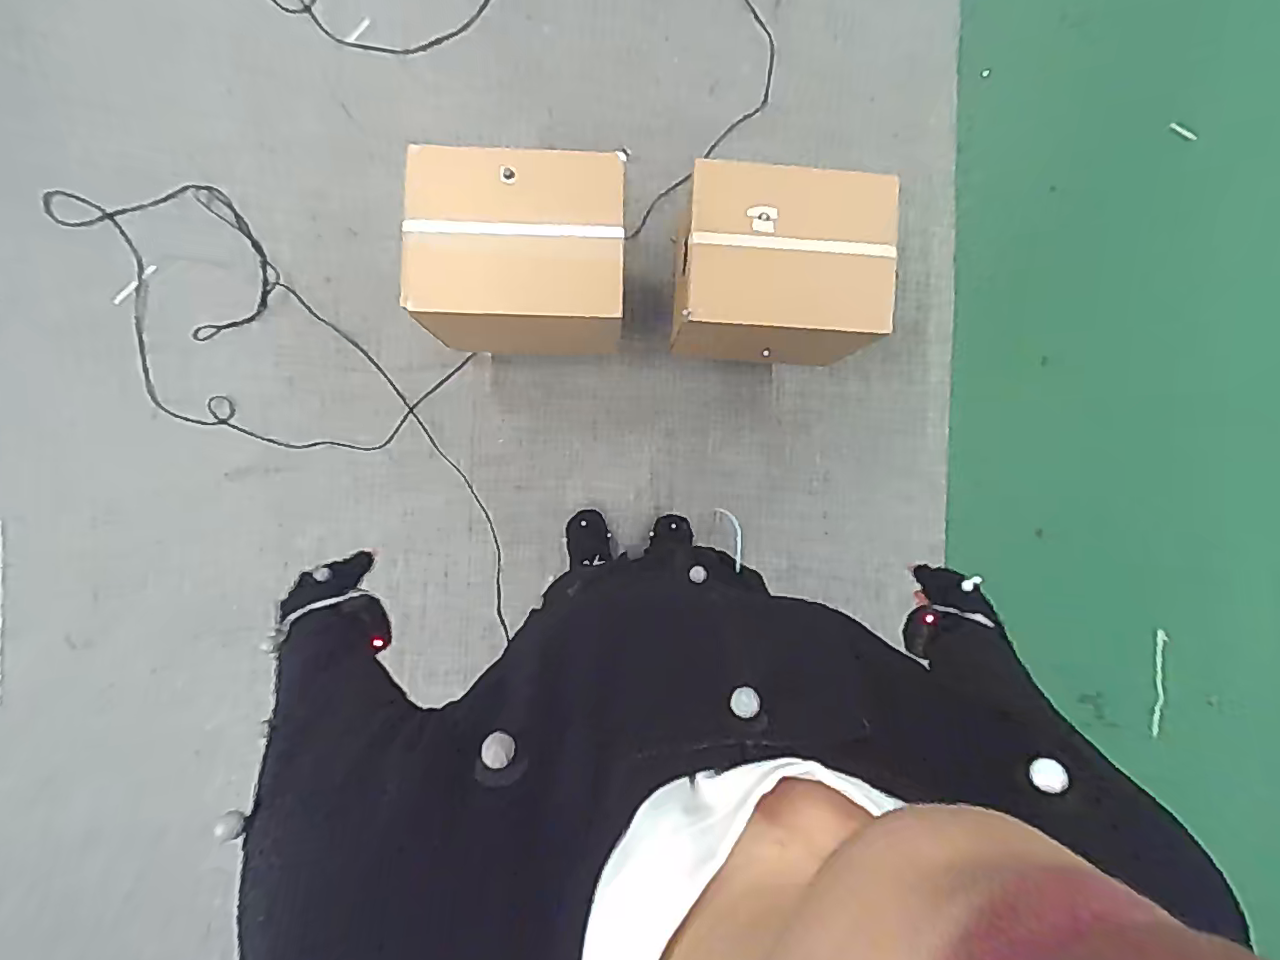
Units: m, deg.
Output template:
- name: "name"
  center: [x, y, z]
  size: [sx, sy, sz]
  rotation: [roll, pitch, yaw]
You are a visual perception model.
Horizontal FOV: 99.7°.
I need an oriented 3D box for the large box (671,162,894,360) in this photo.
- name: "large box"
  center: [0.289, -0.456, 1.199]
  size: [0.408, 0.320, 0.320]
  rotation: [3, 90, -3]
